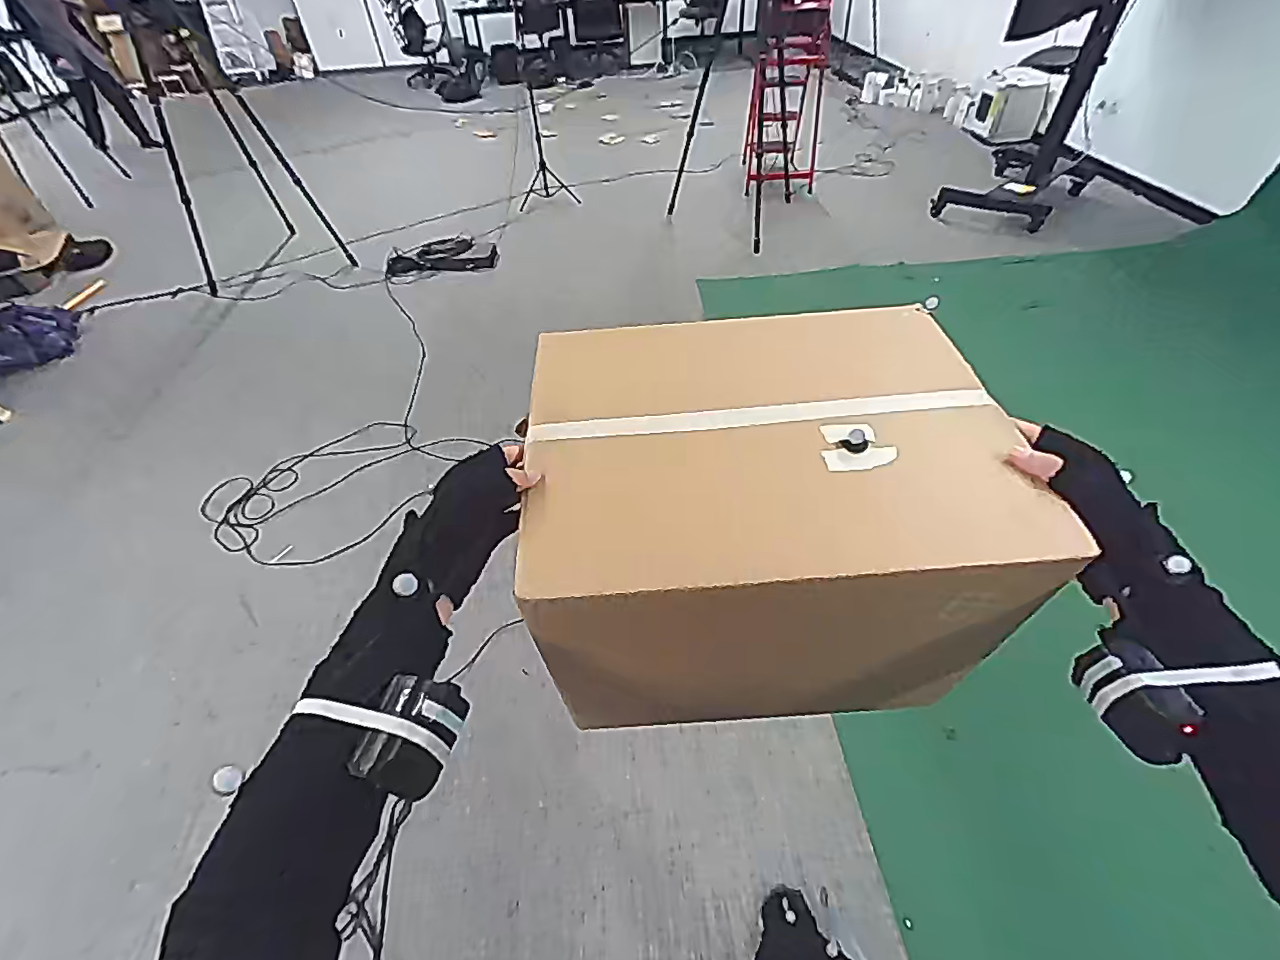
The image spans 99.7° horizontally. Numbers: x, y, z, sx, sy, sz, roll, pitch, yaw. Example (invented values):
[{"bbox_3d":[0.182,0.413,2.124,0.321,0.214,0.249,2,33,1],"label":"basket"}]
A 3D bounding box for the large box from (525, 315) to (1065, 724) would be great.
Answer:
[{"bbox_3d":[0.108,0.049,0.596,0.408,0.320,0.320,-4,50,0],"label":"large box"}]
